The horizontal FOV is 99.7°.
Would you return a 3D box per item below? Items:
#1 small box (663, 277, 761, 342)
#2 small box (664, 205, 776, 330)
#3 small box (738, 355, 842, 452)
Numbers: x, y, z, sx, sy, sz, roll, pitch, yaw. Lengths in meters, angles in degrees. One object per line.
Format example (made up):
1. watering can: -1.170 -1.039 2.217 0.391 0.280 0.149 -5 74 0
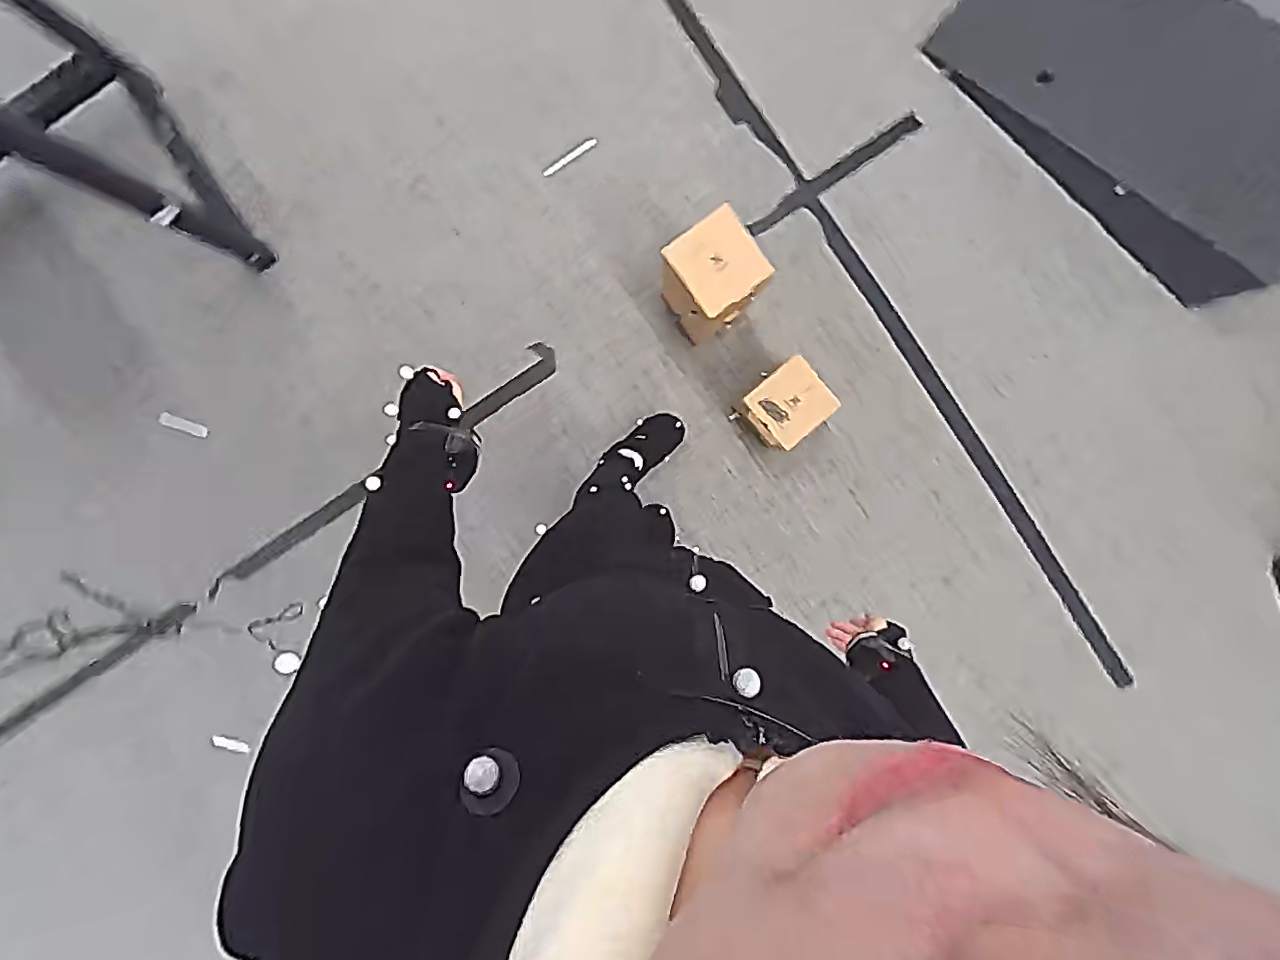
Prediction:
1. small box: 0.172 -0.458 1.339 0.168 0.176 0.179 -33 94 3
2. small box: 0.166 -0.446 1.175 0.168 0.176 0.179 -35 92 3
3. small box: 0.364 -0.184 1.357 0.179 0.176 0.168 -40 93 3
